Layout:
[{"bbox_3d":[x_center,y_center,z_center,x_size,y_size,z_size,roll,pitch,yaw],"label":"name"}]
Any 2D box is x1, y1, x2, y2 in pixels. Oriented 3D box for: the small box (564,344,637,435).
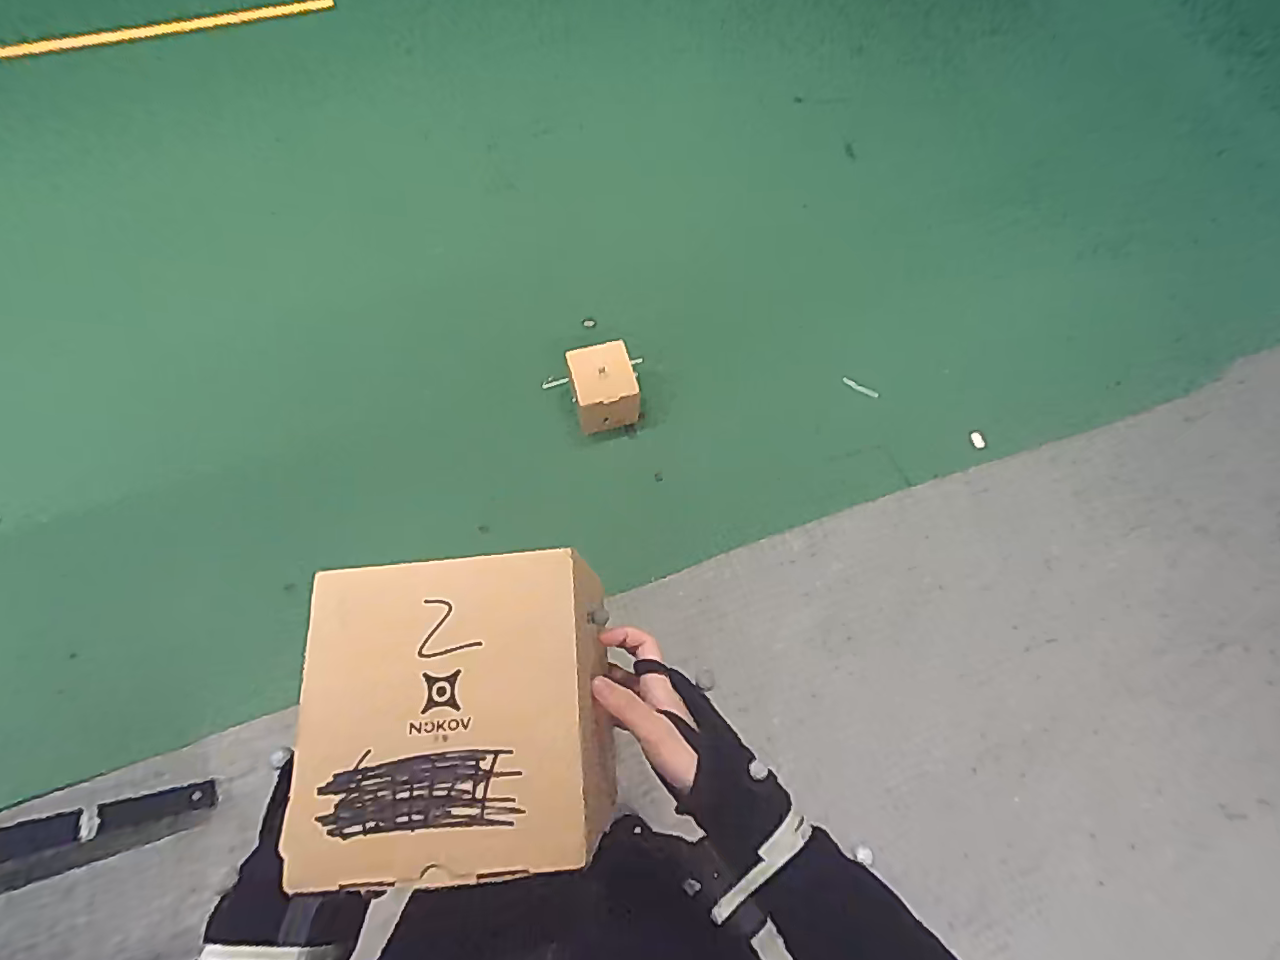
[{"bbox_3d":[-0.114,-0.253,1.532,0.168,0.176,0.179,-15,71,-9],"label":"small box"}]
